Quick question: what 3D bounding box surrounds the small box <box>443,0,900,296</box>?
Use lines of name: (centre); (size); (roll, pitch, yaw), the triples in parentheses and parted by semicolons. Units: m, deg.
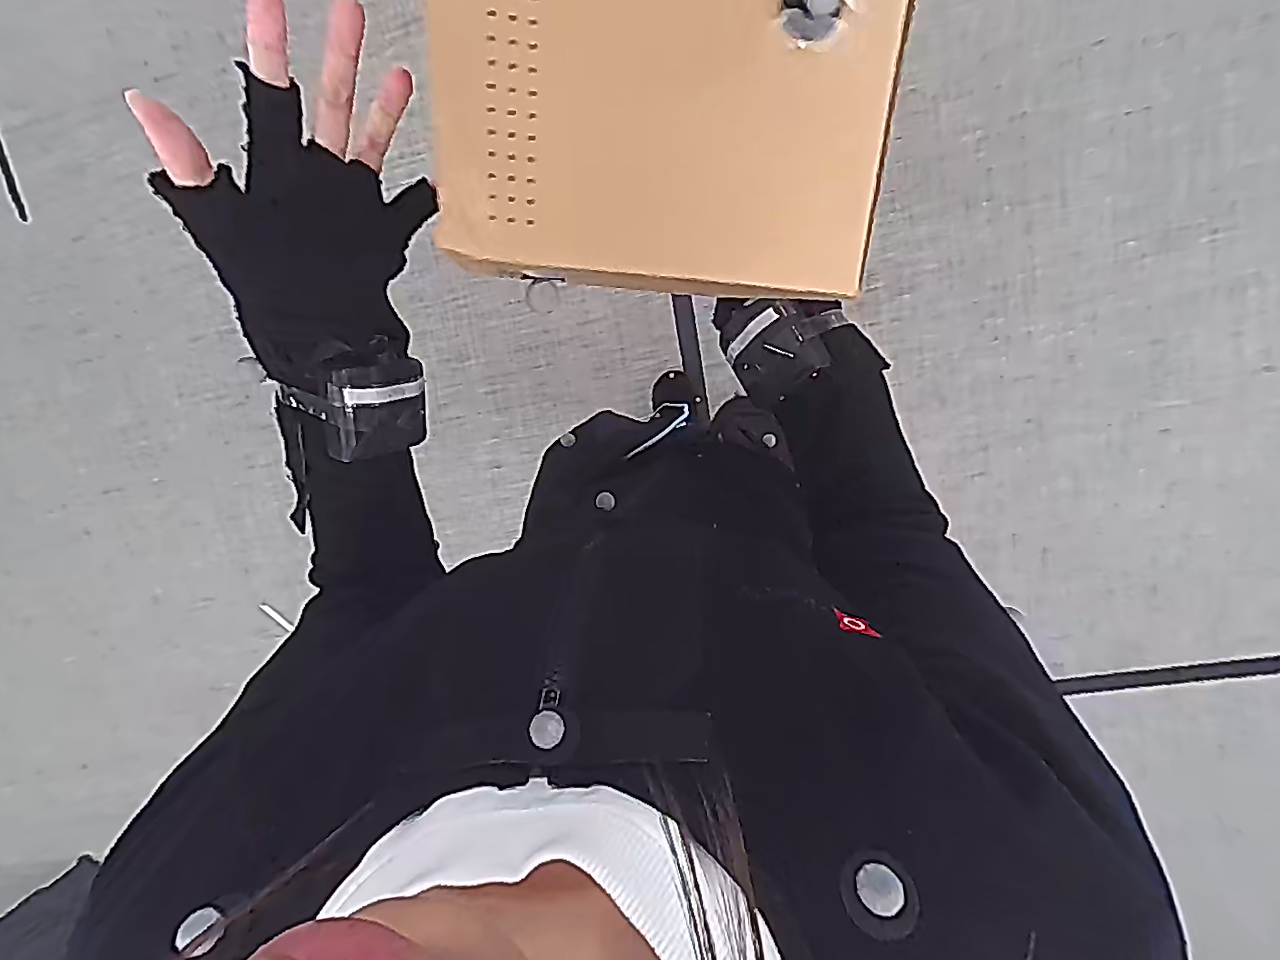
small box: (-0.003, -0.189, 0.265); (0.176, 0.168, 0.179); (1, 108, -14)
